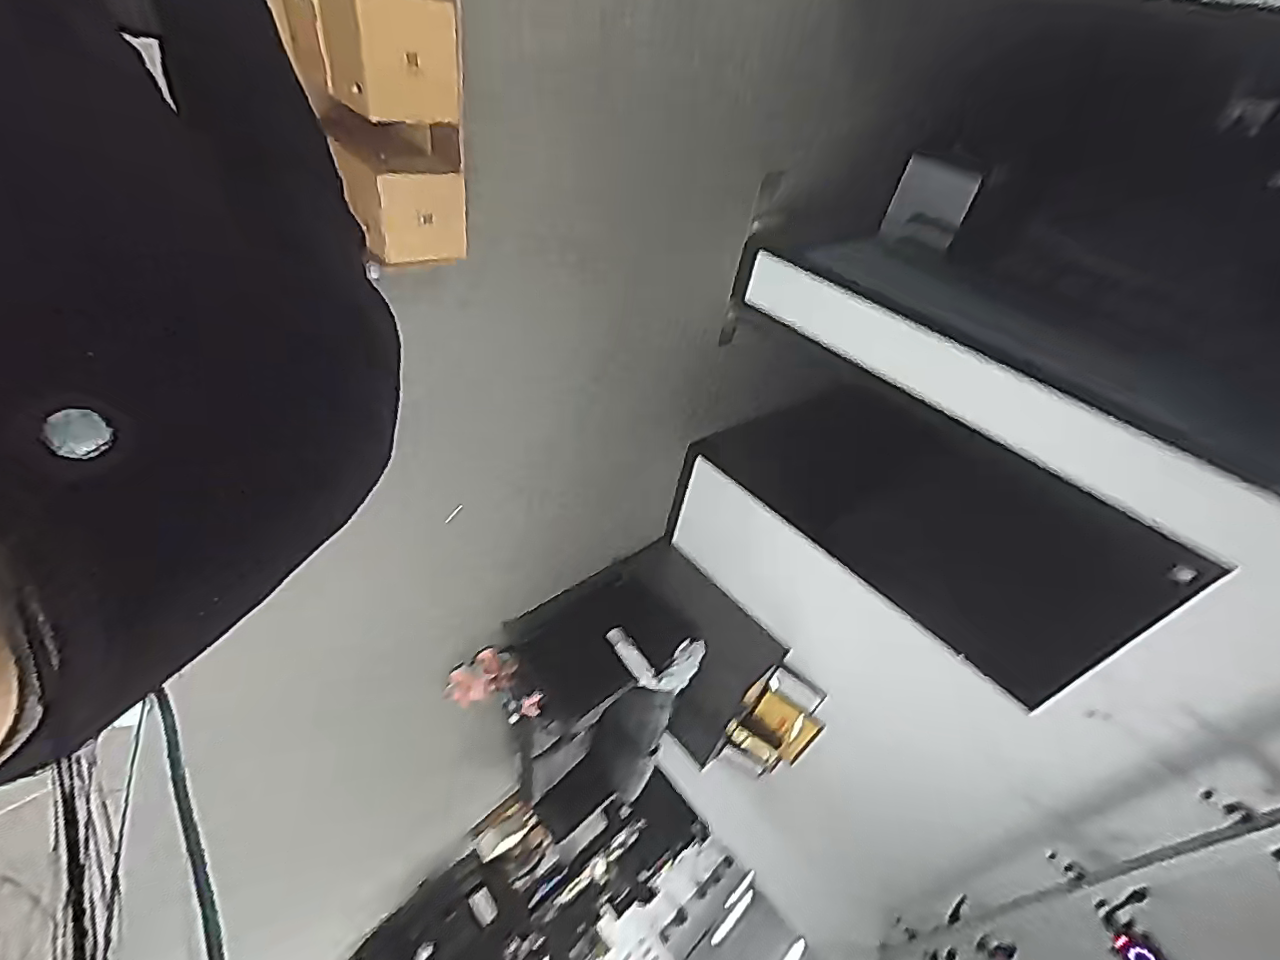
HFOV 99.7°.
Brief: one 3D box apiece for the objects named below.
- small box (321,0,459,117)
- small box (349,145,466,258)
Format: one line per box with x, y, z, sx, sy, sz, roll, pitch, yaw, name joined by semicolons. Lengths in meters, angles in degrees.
-0.437;-0.765;0.950;0.168;0.176;0.179;-25;145;-35;small box
-0.481;-0.576;1.117;0.179;0.176;0.168;-24;143;-37;small box
